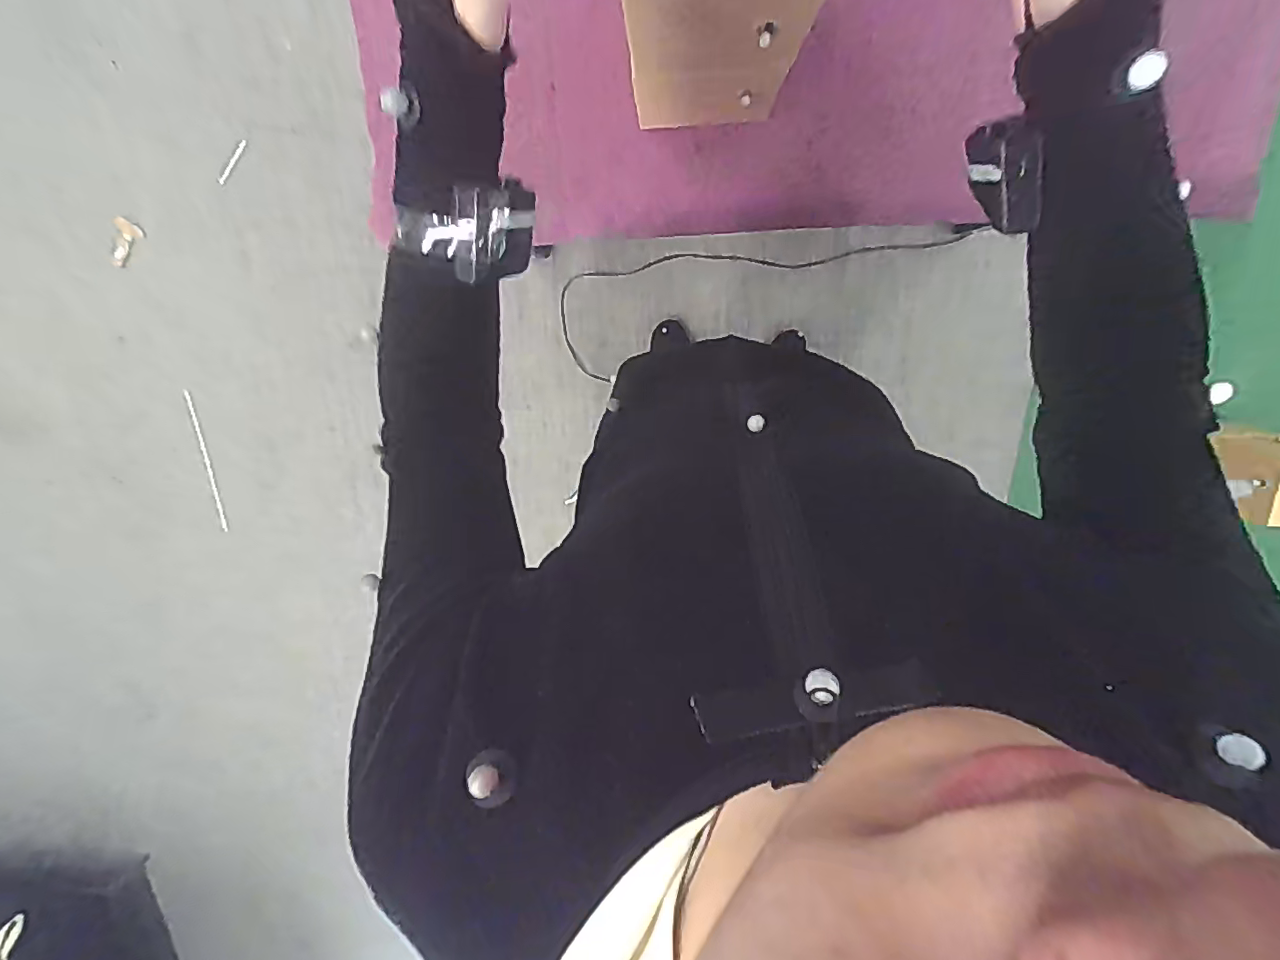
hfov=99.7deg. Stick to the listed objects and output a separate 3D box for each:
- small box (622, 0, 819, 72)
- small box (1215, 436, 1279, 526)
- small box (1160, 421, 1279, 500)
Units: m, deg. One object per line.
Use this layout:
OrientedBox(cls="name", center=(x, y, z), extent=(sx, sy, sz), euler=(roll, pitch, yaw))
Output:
OrientedBox(cls="small box", center=(0.072, -0.503, 0.490), extent=(0.179, 0.176, 0.168), euler=(-1, 106, 4))
OrientedBox(cls="small box", center=(1.543, -0.001, 1.286), extent=(0.168, 0.176, 0.179), euler=(-2, 106, 5))
OrientedBox(cls="small box", center=(1.553, -0.055, 1.439), extent=(0.168, 0.176, 0.179), euler=(0, 107, 5))
